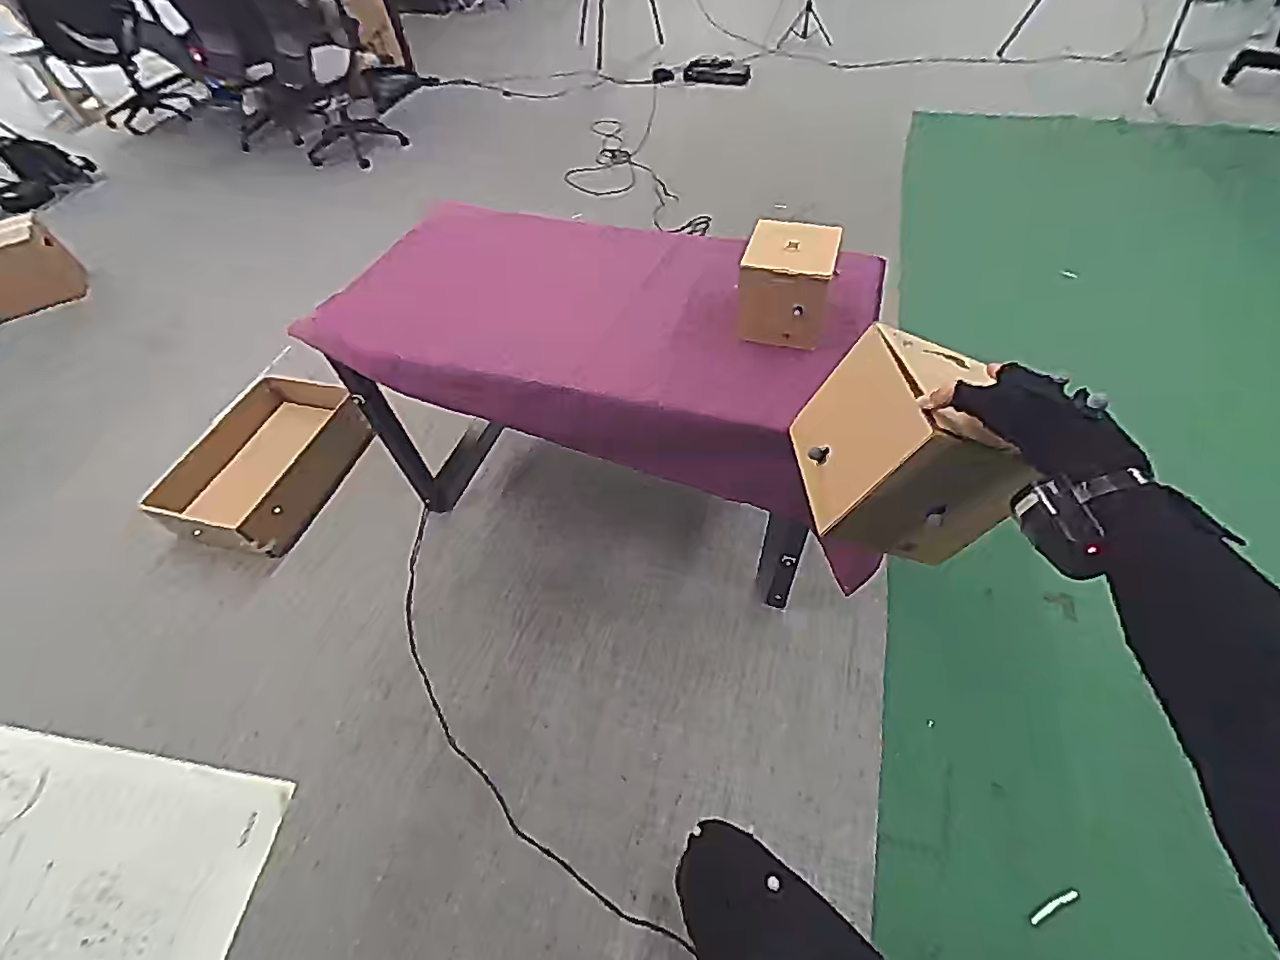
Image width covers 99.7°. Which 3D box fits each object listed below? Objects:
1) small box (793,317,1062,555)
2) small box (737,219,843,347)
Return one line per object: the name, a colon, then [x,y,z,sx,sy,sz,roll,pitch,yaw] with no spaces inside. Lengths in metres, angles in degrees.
small box: [0.295,-0.041,0.599,0.168,0.176,0.179,15,46,-17]
small box: [0.293,-0.390,1.079,0.168,0.176,0.179,14,55,14]
